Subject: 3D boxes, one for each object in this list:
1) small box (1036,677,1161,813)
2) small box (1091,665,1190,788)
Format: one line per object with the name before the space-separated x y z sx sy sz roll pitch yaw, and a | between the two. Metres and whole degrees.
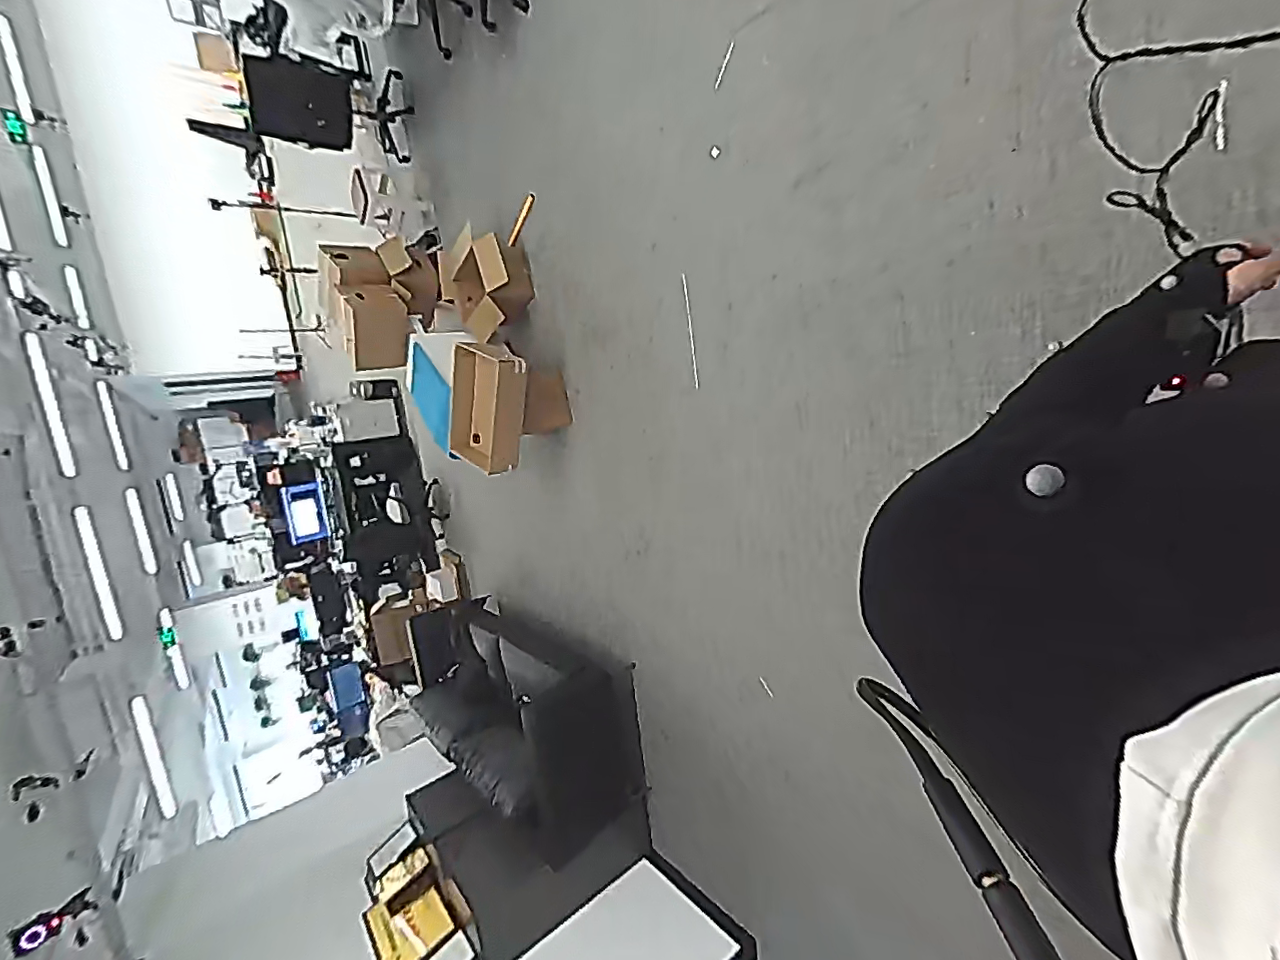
small box | 1.013 0.572 1.195 0.168 0.176 0.179 18 117 49
small box | 1.163 0.568 1.275 0.168 0.176 0.179 12 112 50
